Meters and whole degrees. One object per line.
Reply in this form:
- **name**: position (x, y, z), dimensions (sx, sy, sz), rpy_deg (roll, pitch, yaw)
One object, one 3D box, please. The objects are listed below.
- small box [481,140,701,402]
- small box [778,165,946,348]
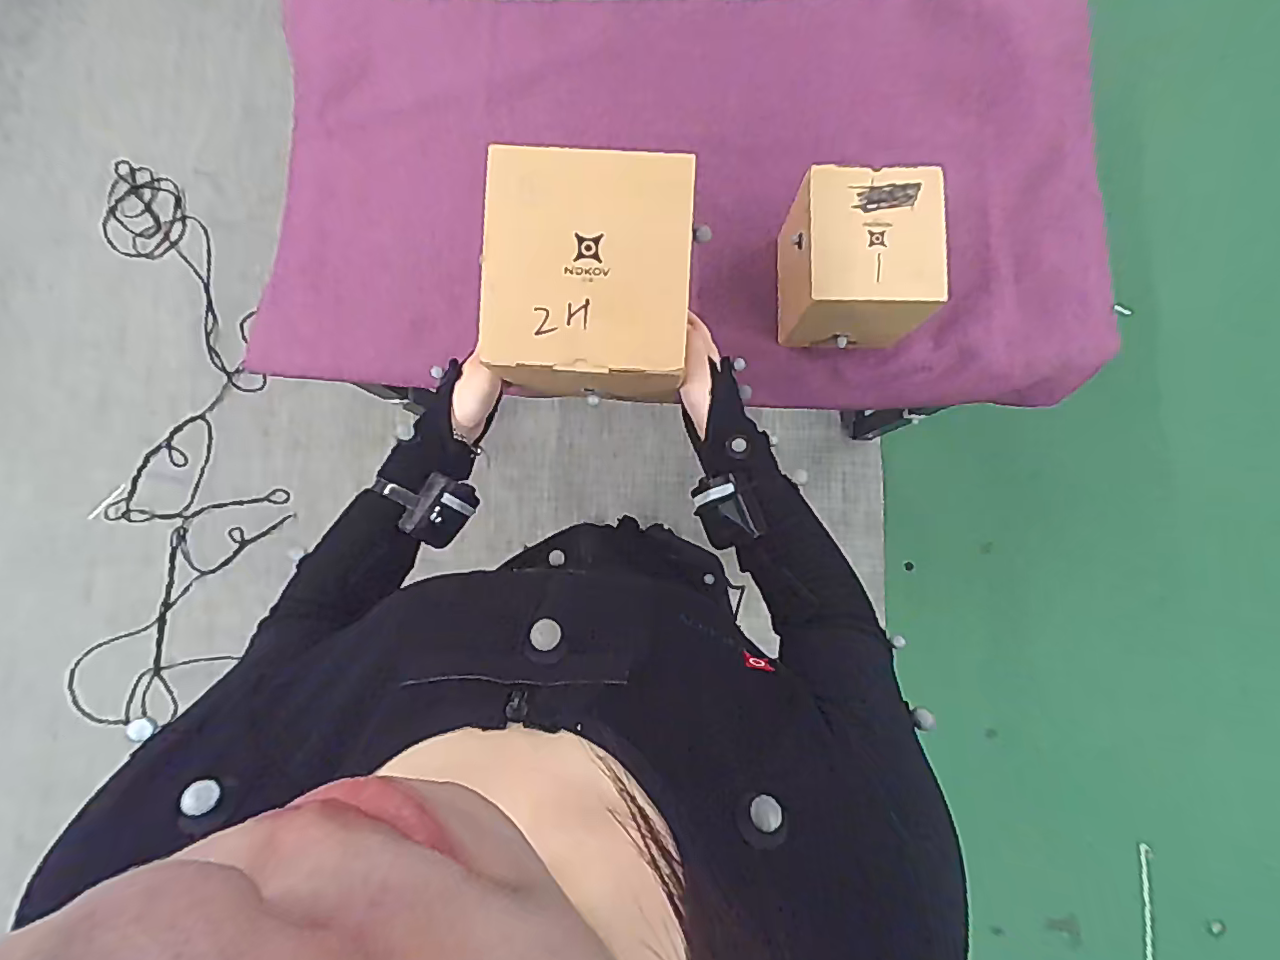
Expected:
- **small box**: position (-0.038, -0.177, 0.505), dimensions (0.168, 0.176, 0.179), rpy_deg (3, 90, 1)
- **small box**: position (0.289, -0.294, 0.739), dimensions (0.168, 0.176, 0.179), rpy_deg (1, 85, 1)
